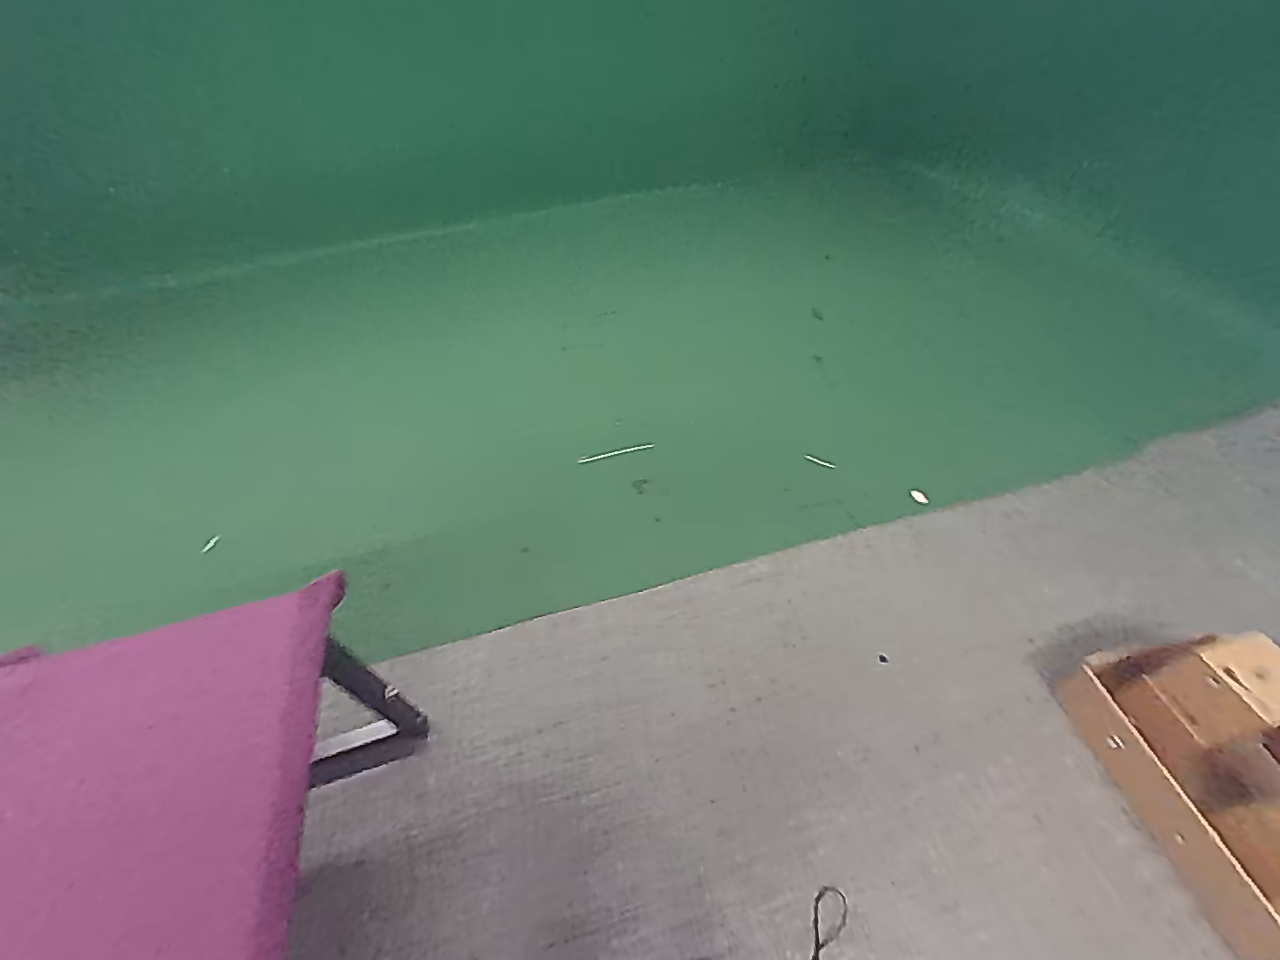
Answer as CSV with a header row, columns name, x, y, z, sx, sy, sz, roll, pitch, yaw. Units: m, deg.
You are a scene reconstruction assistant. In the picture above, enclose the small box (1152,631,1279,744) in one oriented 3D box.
name,x,y,z,sx,sy,sz,roll,pitch,yaw
small box,1.331,0.466,1.212,0.179,0.176,0.168,-12,47,-7
